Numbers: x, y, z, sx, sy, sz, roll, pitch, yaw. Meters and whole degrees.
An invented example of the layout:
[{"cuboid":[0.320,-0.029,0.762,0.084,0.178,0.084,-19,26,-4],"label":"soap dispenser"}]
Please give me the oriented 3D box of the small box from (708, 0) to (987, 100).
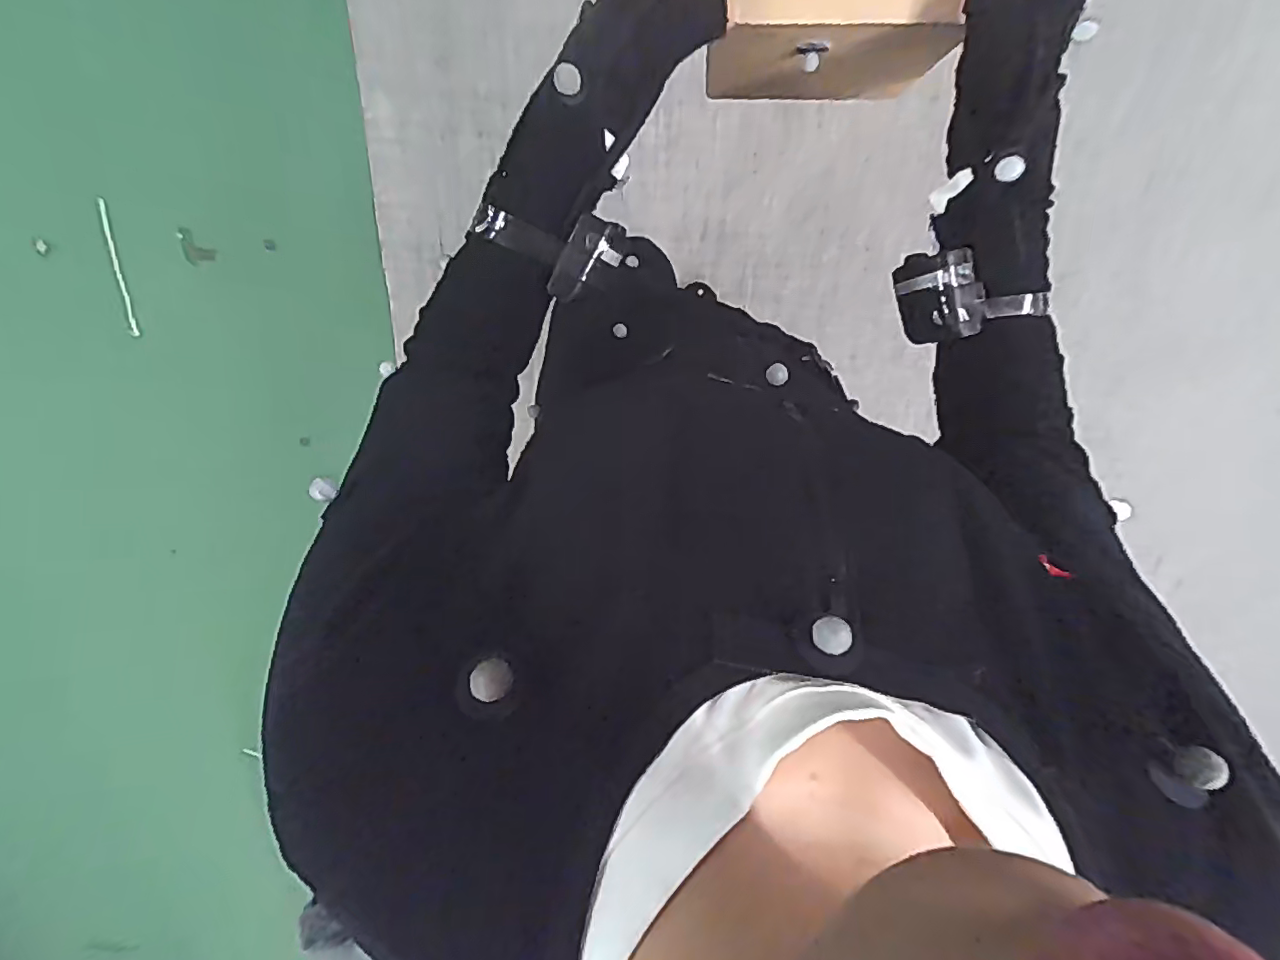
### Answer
[{"cuboid":[0.143,-0.399,0.398,0.179,0.176,0.168,3,112,4],"label":"small box"}]
